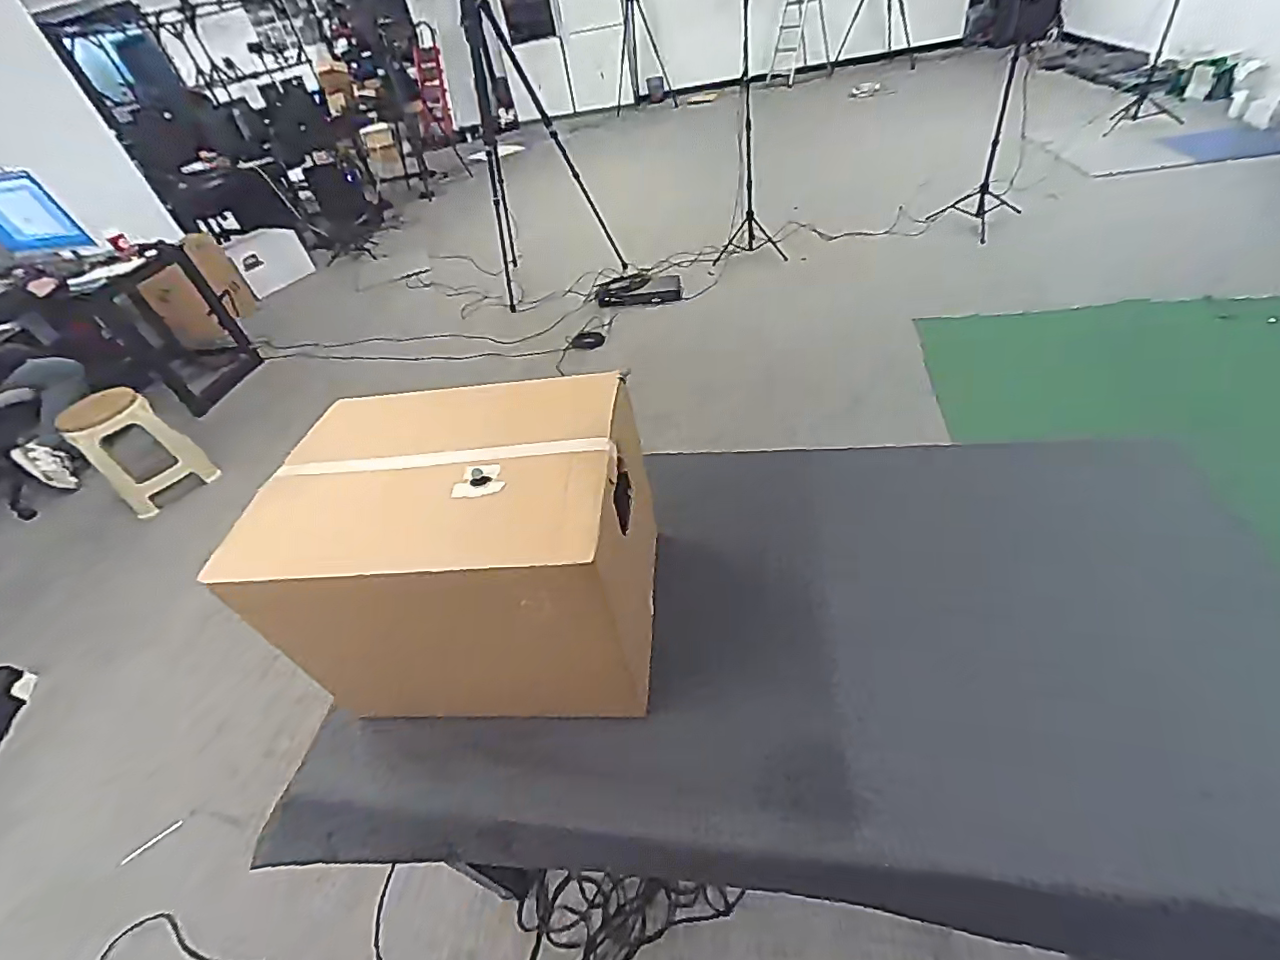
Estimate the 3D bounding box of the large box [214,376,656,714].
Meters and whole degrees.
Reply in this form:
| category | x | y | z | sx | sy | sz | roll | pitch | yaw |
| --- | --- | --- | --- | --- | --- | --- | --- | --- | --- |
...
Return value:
| category | x | y | z | sx | sy | sz | roll | pitch | yaw |
| --- | --- | --- | --- | --- | --- | --- | --- | --- | --- |
| large box | -0.198 | 0.089 | 0.712 | 0.408 | 0.320 | 0.320 | -3 | 43 | 7 |
